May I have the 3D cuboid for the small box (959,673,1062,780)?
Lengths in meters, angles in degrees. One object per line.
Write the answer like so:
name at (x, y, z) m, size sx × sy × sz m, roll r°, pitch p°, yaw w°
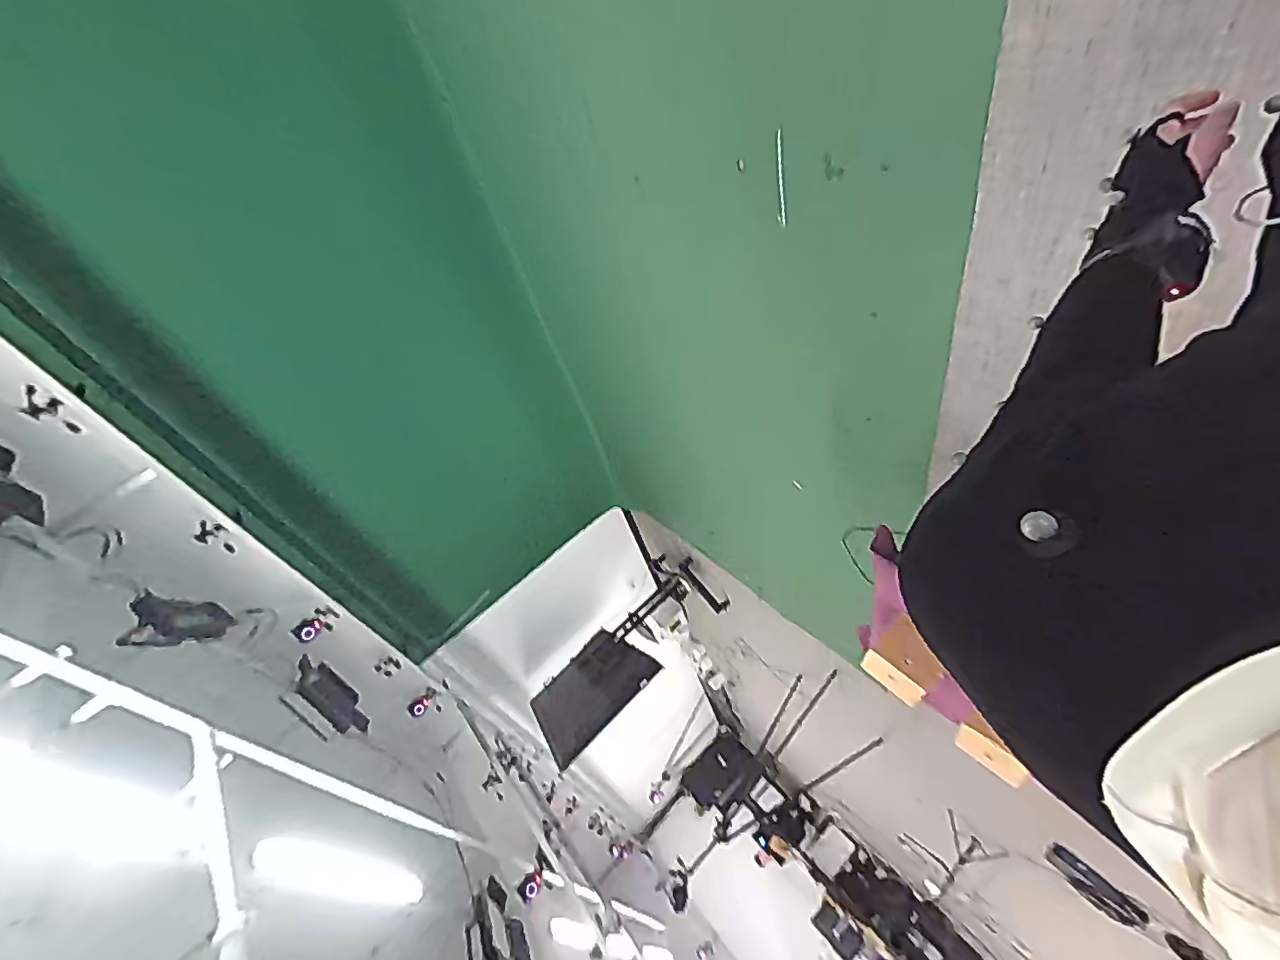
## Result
small box at (1.001, 0.665, 1.465) m, size 0.168 × 0.176 × 0.179 m, roll 33°, pitch 155°, yaw 41°

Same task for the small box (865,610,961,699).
small box at (0.812, 0.513, 1.616) m, size 0.179 × 0.176 × 0.168 m, roll 37°, pitch 158°, yaw 31°
